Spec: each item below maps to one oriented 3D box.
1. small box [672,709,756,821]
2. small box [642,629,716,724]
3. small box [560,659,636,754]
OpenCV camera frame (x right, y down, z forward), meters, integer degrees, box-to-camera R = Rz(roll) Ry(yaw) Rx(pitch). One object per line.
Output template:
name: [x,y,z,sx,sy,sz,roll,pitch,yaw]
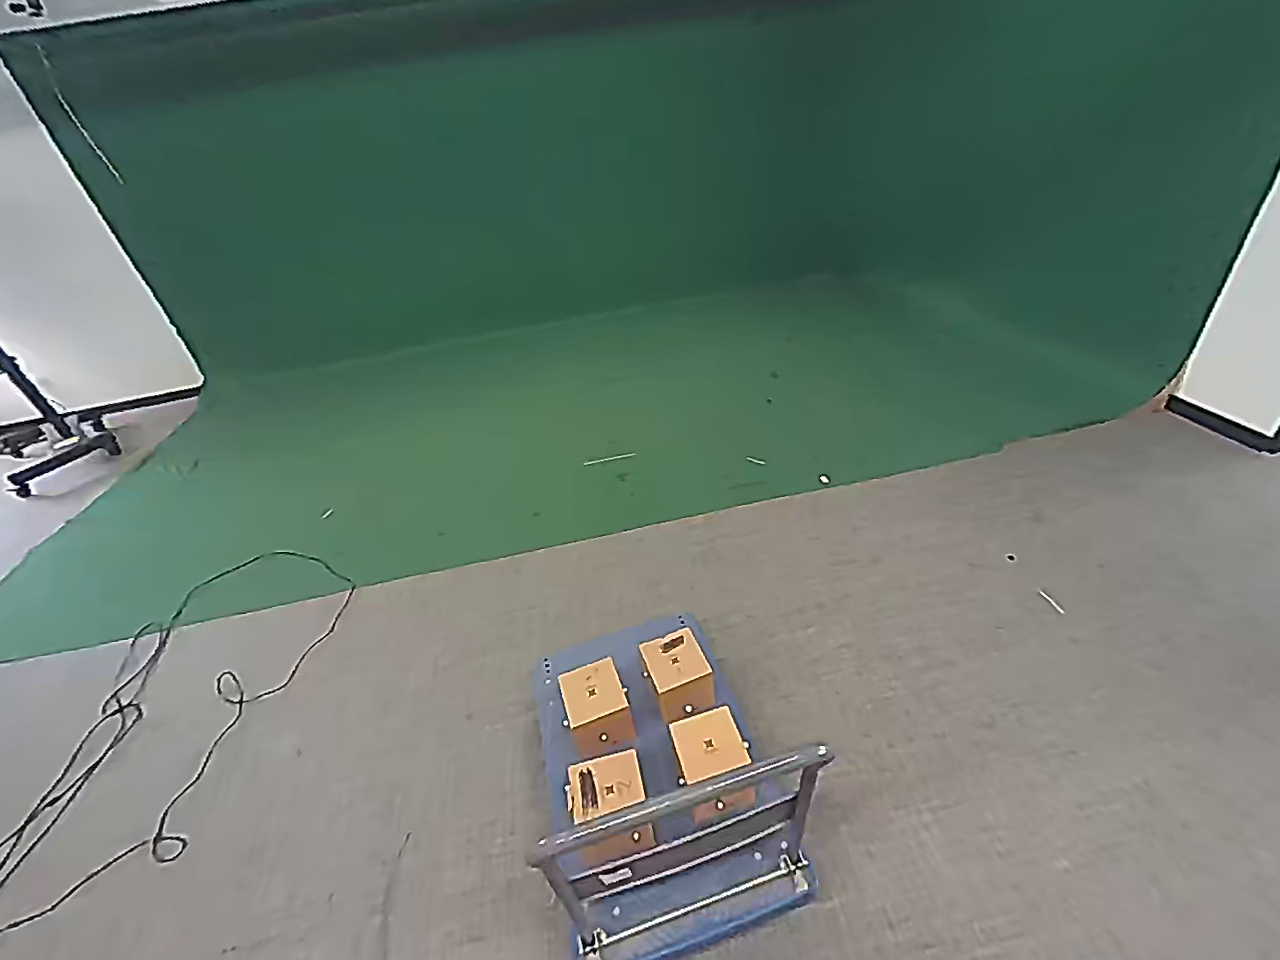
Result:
small box: [0.188,0.731,1.391,0.168,0.176,0.179,-14,36,-8]
small box: [0.116,0.584,1.606,0.168,0.176,0.179,-18,38,-10]
small box: [-0.120,0.658,1.556,0.168,0.176,0.179,-16,36,-11]
